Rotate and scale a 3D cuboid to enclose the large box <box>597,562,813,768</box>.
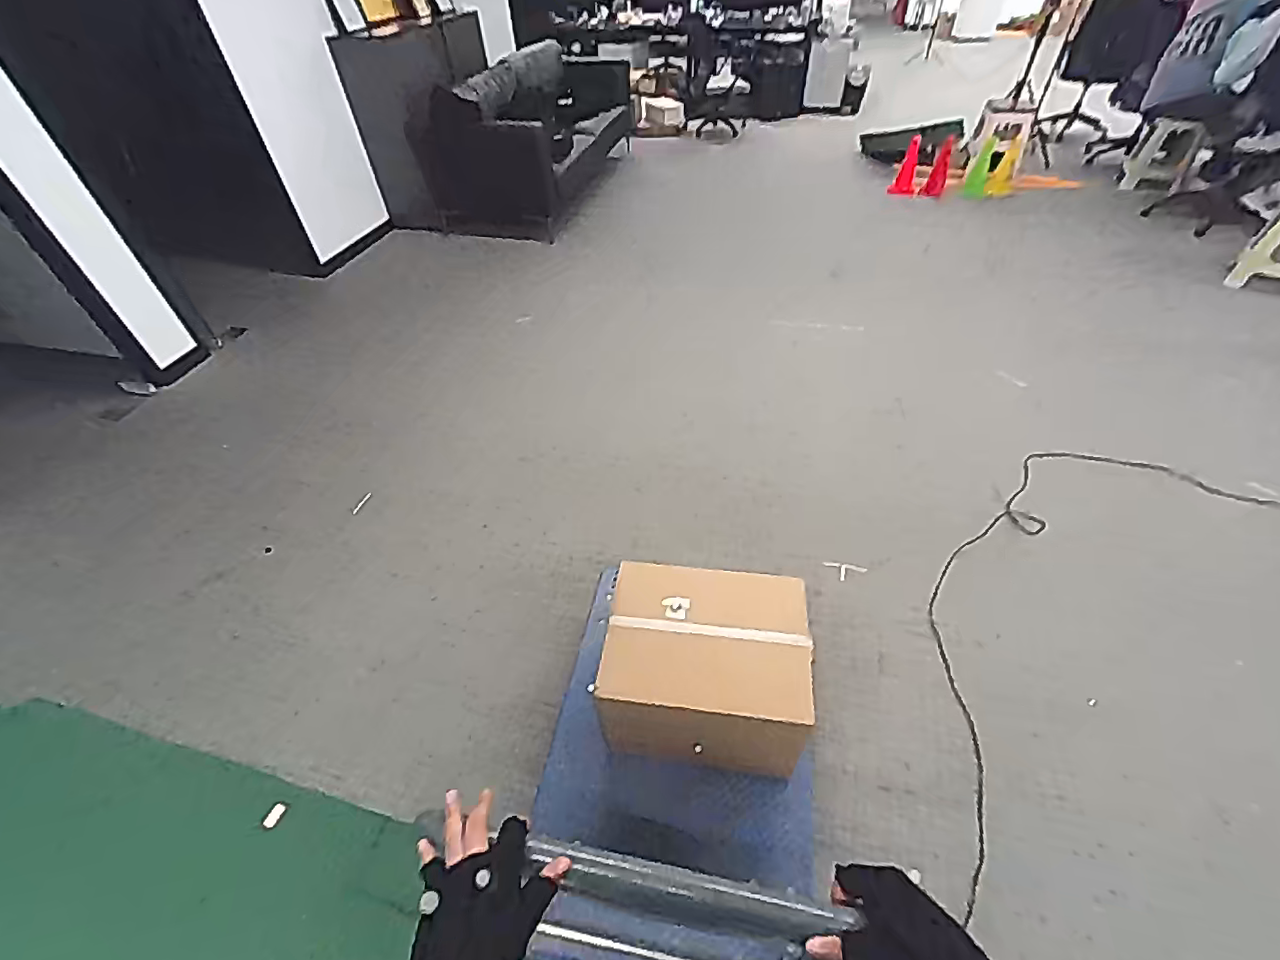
[{"bbox_3d":[0.144,0.409,1.197,0.408,0.320,0.320,4,45,8],"label":"large box"}]
